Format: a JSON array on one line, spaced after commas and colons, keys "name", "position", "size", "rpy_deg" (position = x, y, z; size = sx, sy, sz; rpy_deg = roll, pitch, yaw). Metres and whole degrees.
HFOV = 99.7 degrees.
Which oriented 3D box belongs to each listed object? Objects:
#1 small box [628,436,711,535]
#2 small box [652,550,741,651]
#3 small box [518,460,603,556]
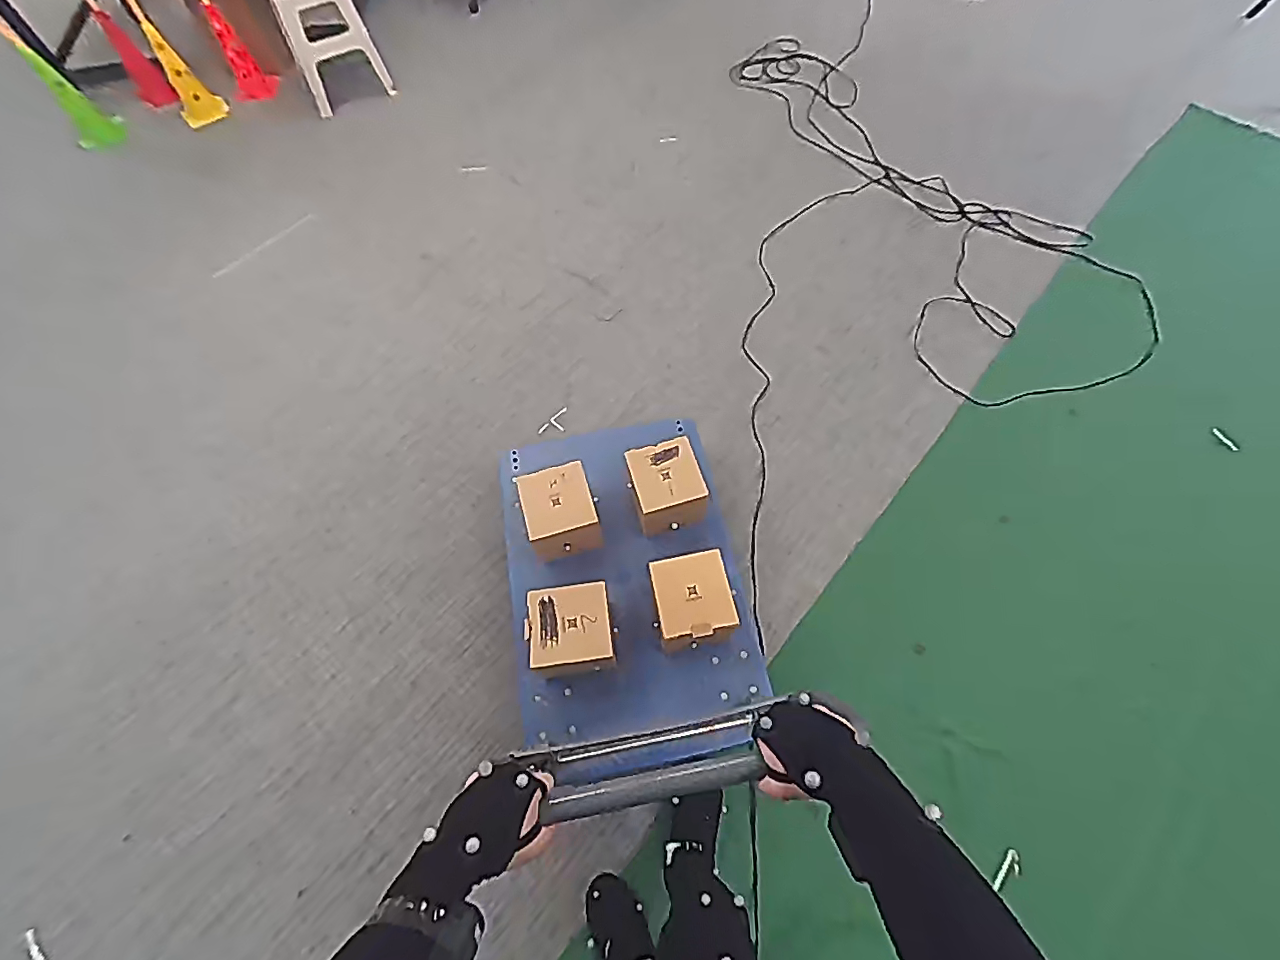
[{"name": "small box", "position": [0.070, 0.019, 1.379], "size": [0.168, 0.176, 0.179], "rpy_deg": [-15, 65, -5]}, {"name": "small box", "position": [0.121, 0.281, 1.250], "size": [0.168, 0.176, 0.179], "rpy_deg": [-10, 65, -4]}, {"name": "small box", "position": [-0.194, 0.079, 1.355], "size": [0.168, 0.176, 0.179], "rpy_deg": [-15, 64, -7]}]
